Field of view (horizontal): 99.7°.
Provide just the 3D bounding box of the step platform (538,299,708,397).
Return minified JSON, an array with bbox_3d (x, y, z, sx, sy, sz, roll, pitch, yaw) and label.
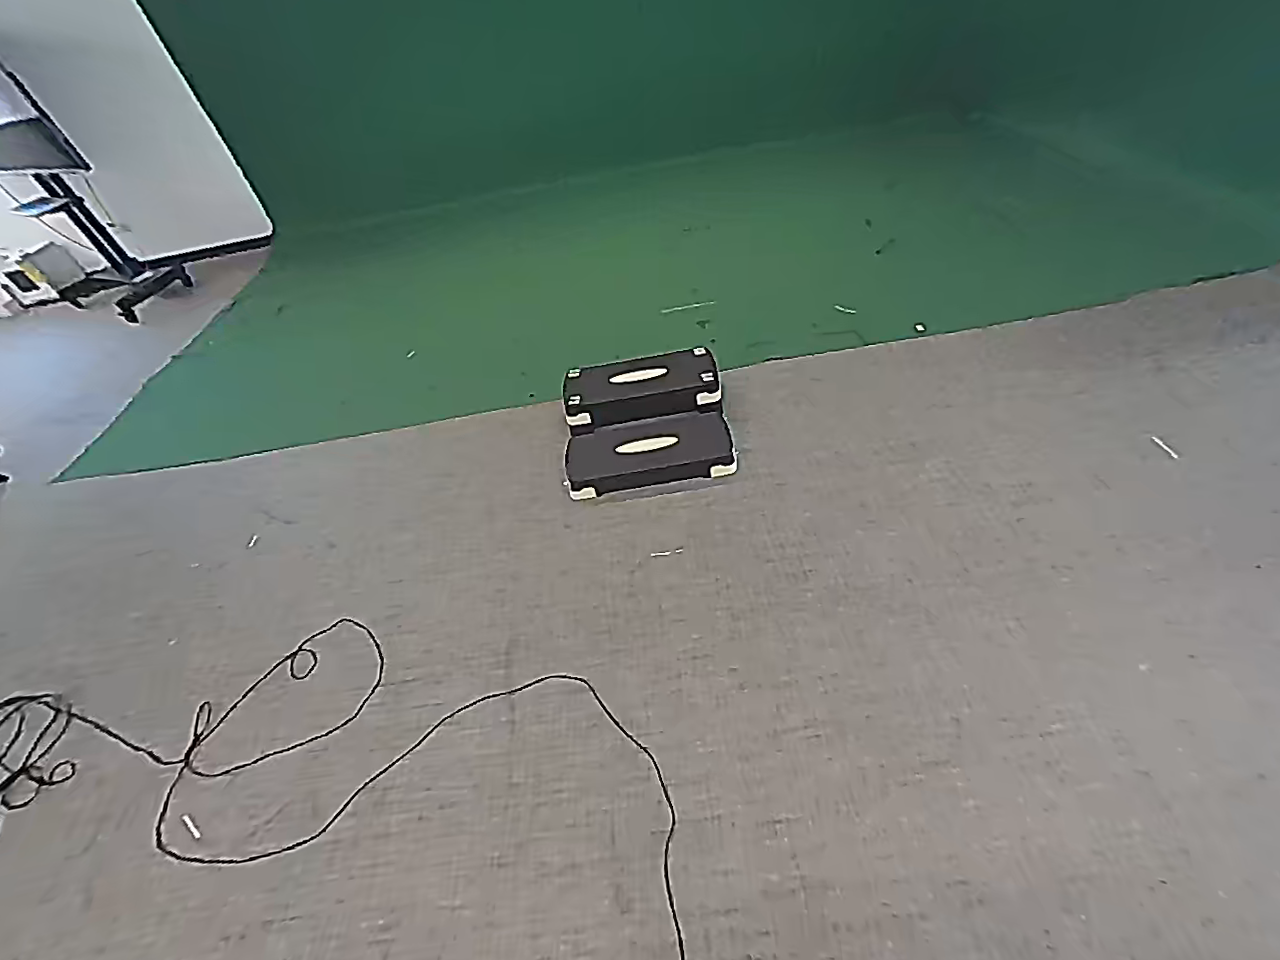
[{"bbox_3d":[-0.066,-0.545,2.241,0.684,0.204,0.286,-10,46,3],"label":"step platform"}]
